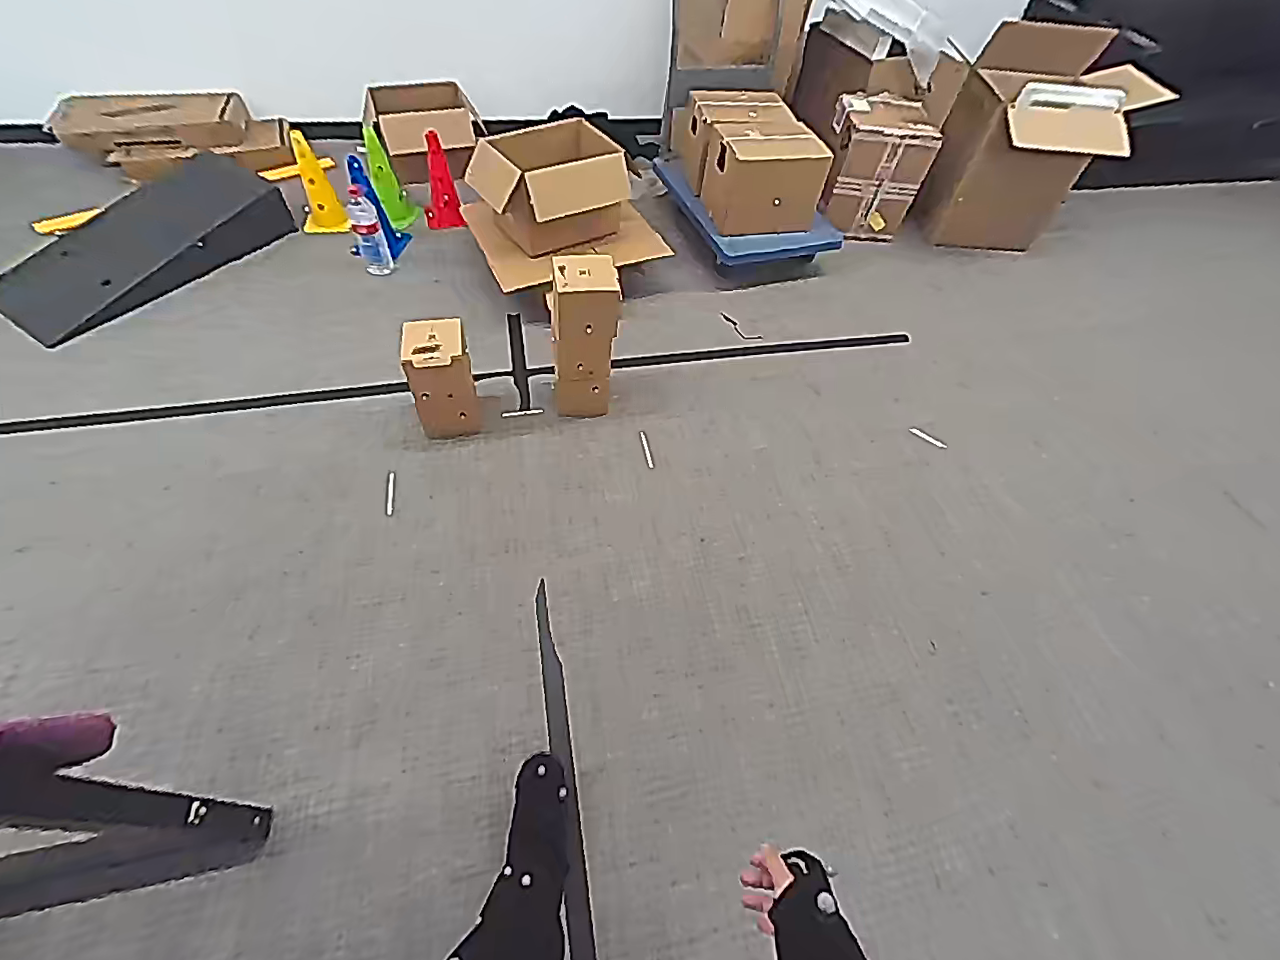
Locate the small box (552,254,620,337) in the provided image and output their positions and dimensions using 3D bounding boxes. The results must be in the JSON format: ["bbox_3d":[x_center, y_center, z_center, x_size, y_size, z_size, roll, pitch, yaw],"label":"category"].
[{"bbox_3d":[-0.161,-0.531,1.571,0.179,0.176,0.168,-5,56,-11],"label":"small box"}]

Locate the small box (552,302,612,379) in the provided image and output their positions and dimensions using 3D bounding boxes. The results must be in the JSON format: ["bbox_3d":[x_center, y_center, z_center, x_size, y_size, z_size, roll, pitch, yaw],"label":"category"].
[{"bbox_3d":[-0.189,-0.443,1.707,0.168,0.176,0.179,-7,56,-12],"label":"small box"}]

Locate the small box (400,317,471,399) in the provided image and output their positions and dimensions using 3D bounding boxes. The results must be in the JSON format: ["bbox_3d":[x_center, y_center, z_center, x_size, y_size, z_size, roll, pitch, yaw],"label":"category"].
[{"bbox_3d":[-0.599,-0.354,1.601,0.168,0.176,0.179,-7,54,-11],"label":"small box"}]

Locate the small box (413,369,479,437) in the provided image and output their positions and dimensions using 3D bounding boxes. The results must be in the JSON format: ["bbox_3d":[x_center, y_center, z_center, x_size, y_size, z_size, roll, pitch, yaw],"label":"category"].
[{"bbox_3d":[-0.618,-0.259,1.733,0.179,0.176,0.168,-10,55,-11],"label":"small box"}]

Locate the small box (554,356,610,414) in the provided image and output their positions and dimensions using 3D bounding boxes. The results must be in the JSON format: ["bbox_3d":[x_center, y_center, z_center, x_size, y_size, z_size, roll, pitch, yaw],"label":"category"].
[{"bbox_3d":[-0.200,-0.339,1.832,0.179,0.176,0.168,-4,55,-9],"label":"small box"}]
